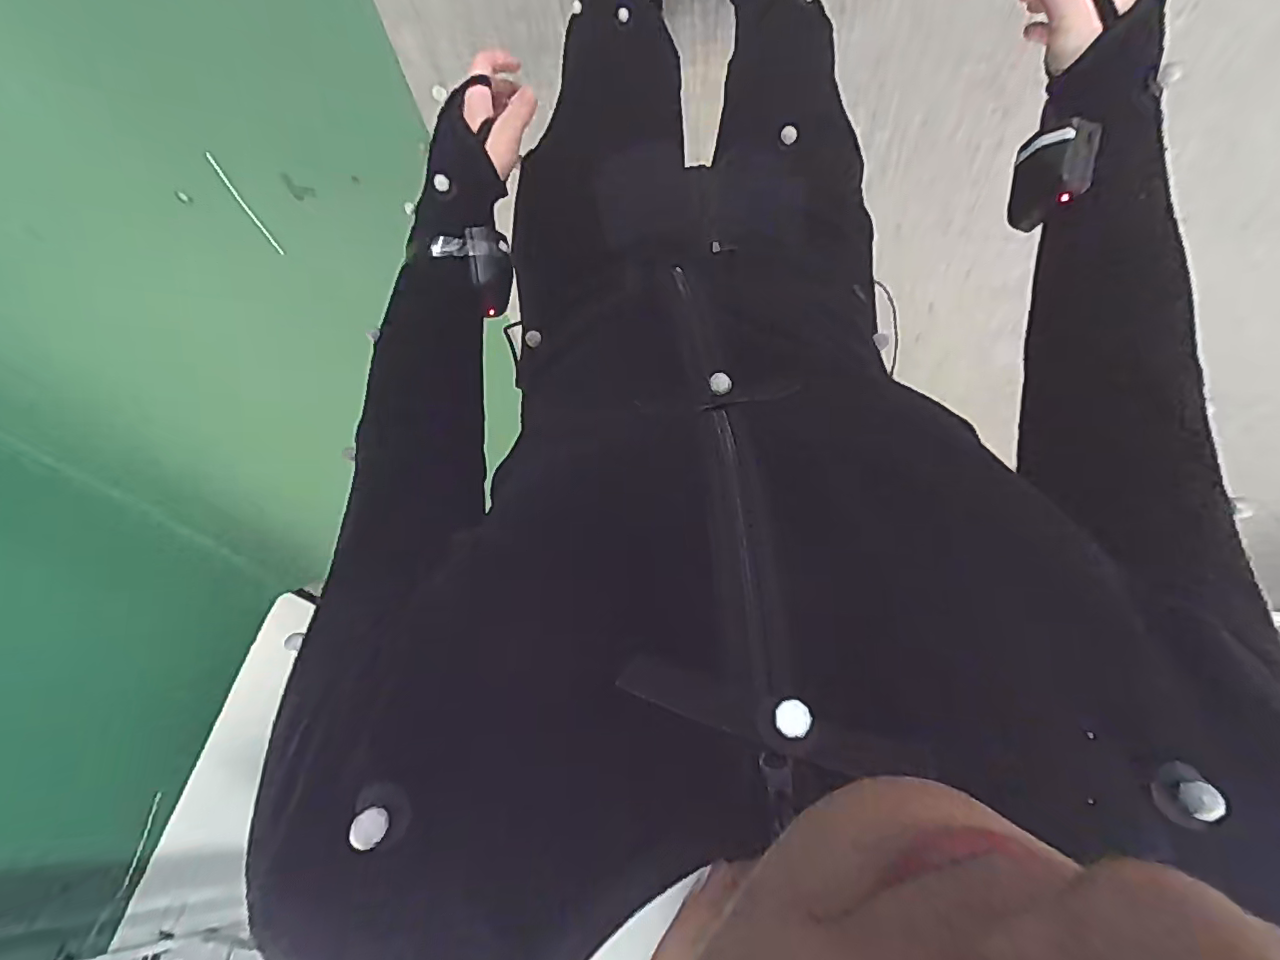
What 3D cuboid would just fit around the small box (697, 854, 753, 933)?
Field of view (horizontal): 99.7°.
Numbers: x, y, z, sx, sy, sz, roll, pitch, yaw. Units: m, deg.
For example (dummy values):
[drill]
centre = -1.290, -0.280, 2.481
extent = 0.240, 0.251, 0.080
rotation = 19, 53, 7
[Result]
[small box]
centre = 0.268, 1.299, 1.710
extent = 0.168, 0.176, 0.179
rotation = 3, 150, 8
